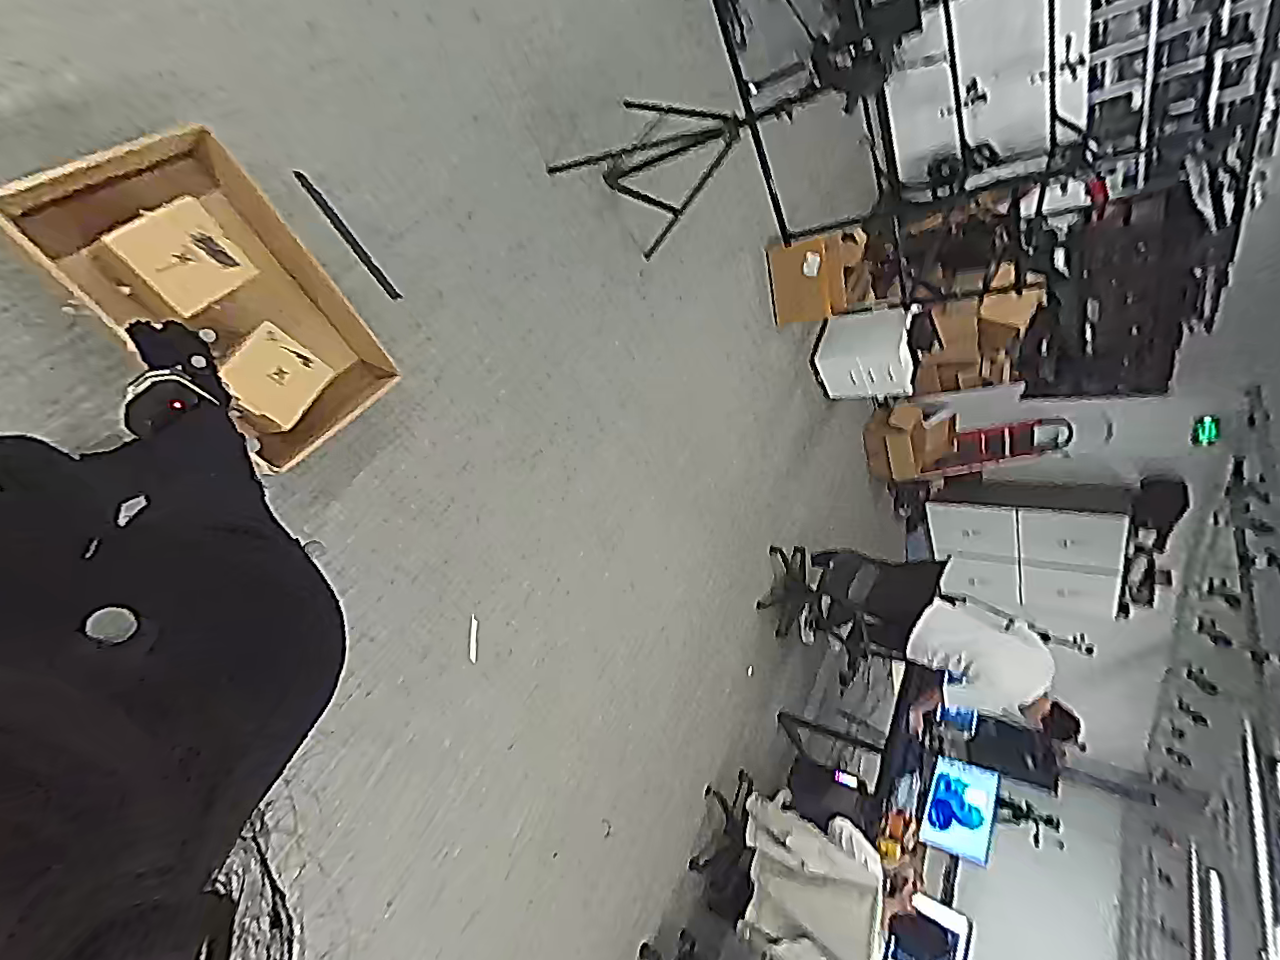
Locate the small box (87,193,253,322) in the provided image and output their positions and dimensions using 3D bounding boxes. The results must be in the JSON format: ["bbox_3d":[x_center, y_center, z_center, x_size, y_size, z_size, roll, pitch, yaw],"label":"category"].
[{"bbox_3d":[-0.937,-0.437,1.078,0.179,0.176,0.168,-56,133,-32],"label":"small box"}]
